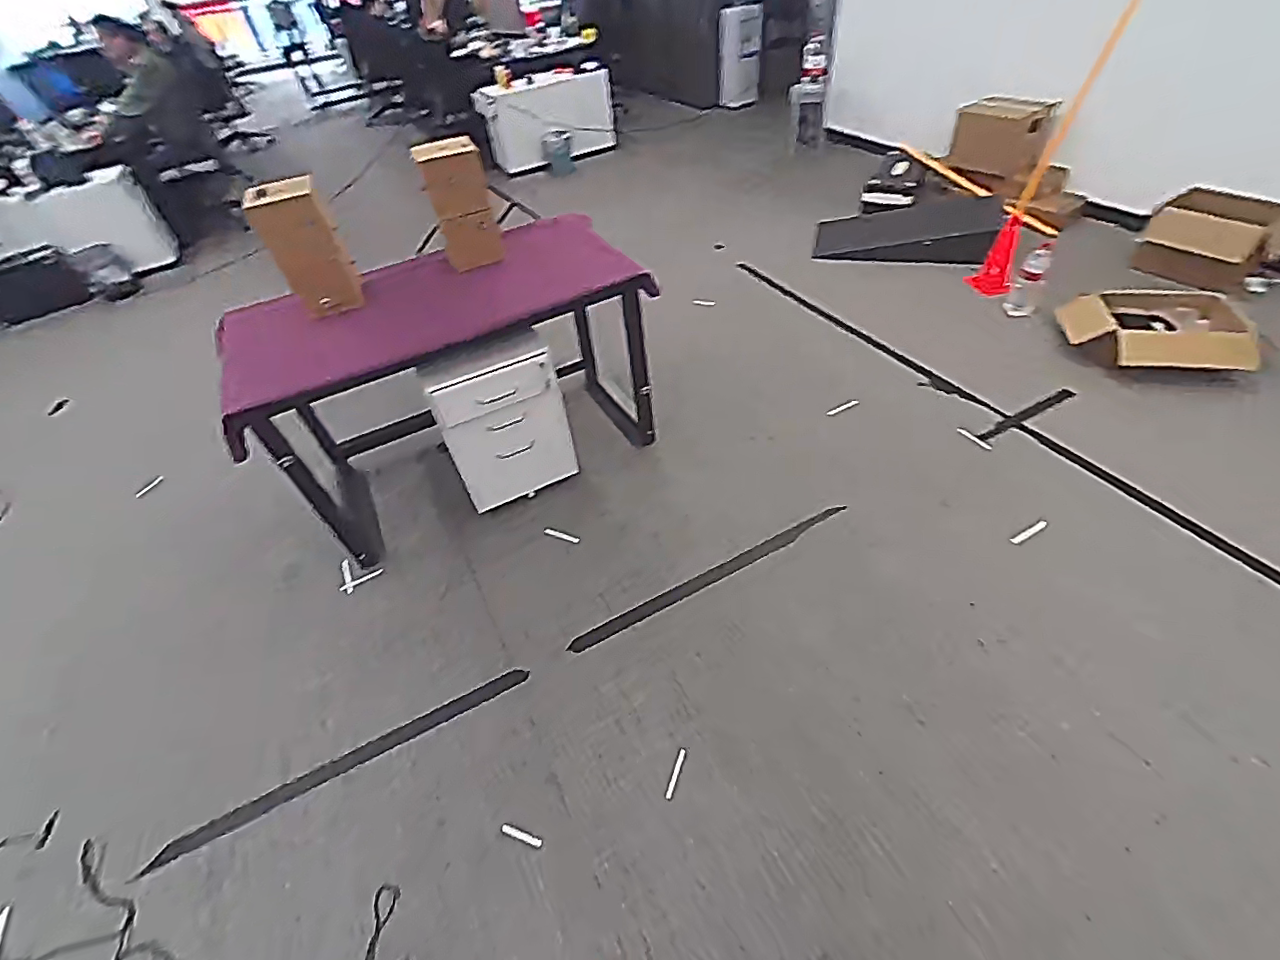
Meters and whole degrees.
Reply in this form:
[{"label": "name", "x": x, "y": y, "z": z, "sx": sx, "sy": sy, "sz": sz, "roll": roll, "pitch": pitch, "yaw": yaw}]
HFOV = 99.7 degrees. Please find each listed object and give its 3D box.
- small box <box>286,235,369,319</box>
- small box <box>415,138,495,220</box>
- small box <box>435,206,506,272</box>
[{"label": "small box", "x": -0.957, "y": -0.623, "z": 1.666, "sx": 0.168, "sy": 0.176, "sz": 0.179, "roll": -21, "pitch": 50, "yaw": -11}, {"label": "small box", "x": -0.574, "y": -0.932, "z": 1.680, "sx": 0.179, "sy": 0.176, "sz": 0.168, "roll": -21, "pitch": 49, "yaw": -11}, {"label": "small box", "x": -0.557, "y": -0.820, "z": 1.798, "sx": 0.179, "sy": 0.176, "sz": 0.168, "roll": -22, "pitch": 48, "yaw": -13}]
